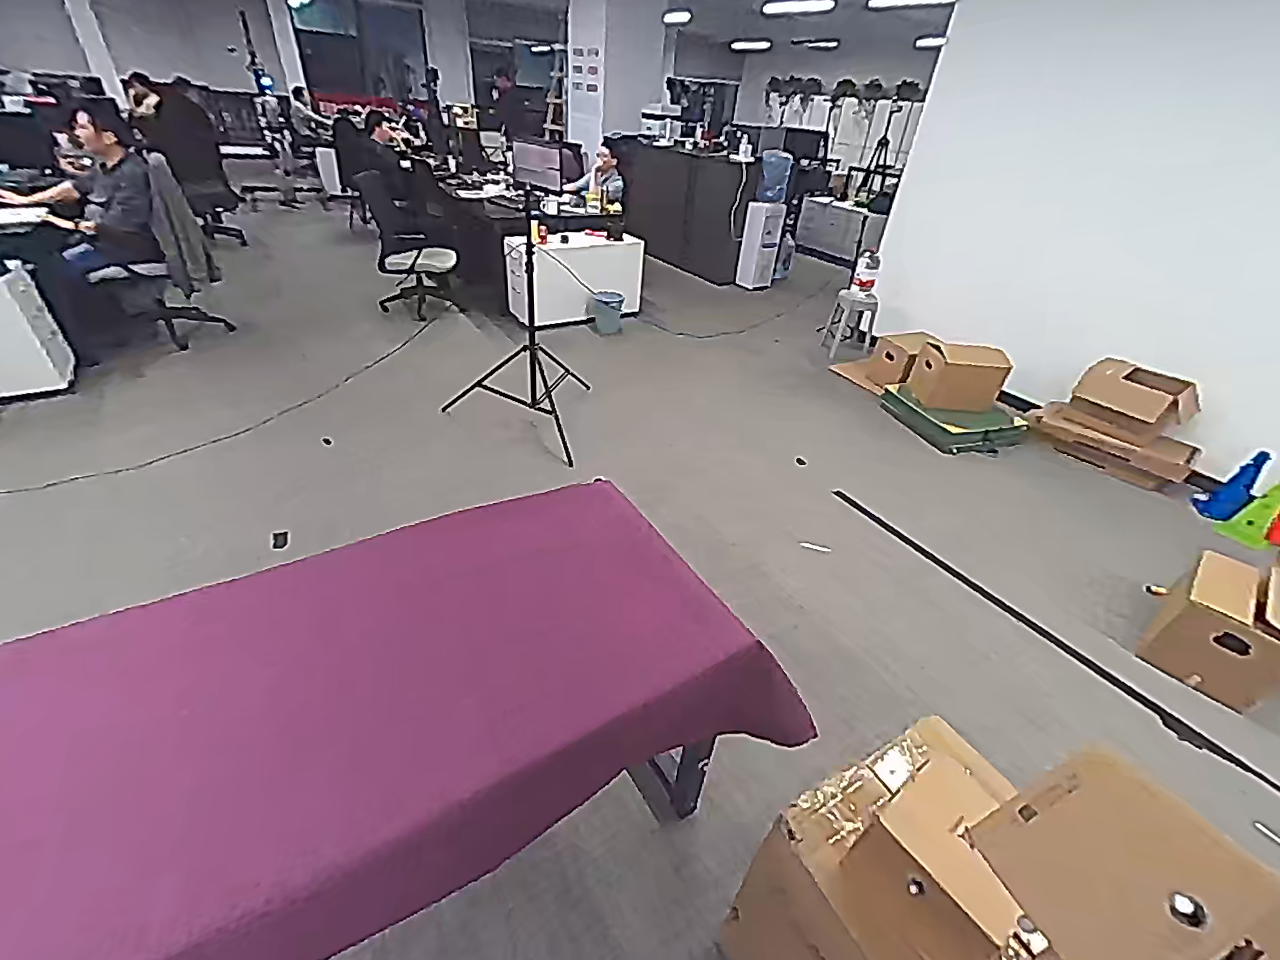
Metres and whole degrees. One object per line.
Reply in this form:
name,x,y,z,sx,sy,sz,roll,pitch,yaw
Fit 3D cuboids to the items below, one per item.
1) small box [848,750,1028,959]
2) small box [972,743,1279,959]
small box,0.426,0.533,0.760,0.168,0.176,0.179,-21,44,-30
small box,0.451,0.382,0.480,0.168,0.179,0.176,-39,11,5
